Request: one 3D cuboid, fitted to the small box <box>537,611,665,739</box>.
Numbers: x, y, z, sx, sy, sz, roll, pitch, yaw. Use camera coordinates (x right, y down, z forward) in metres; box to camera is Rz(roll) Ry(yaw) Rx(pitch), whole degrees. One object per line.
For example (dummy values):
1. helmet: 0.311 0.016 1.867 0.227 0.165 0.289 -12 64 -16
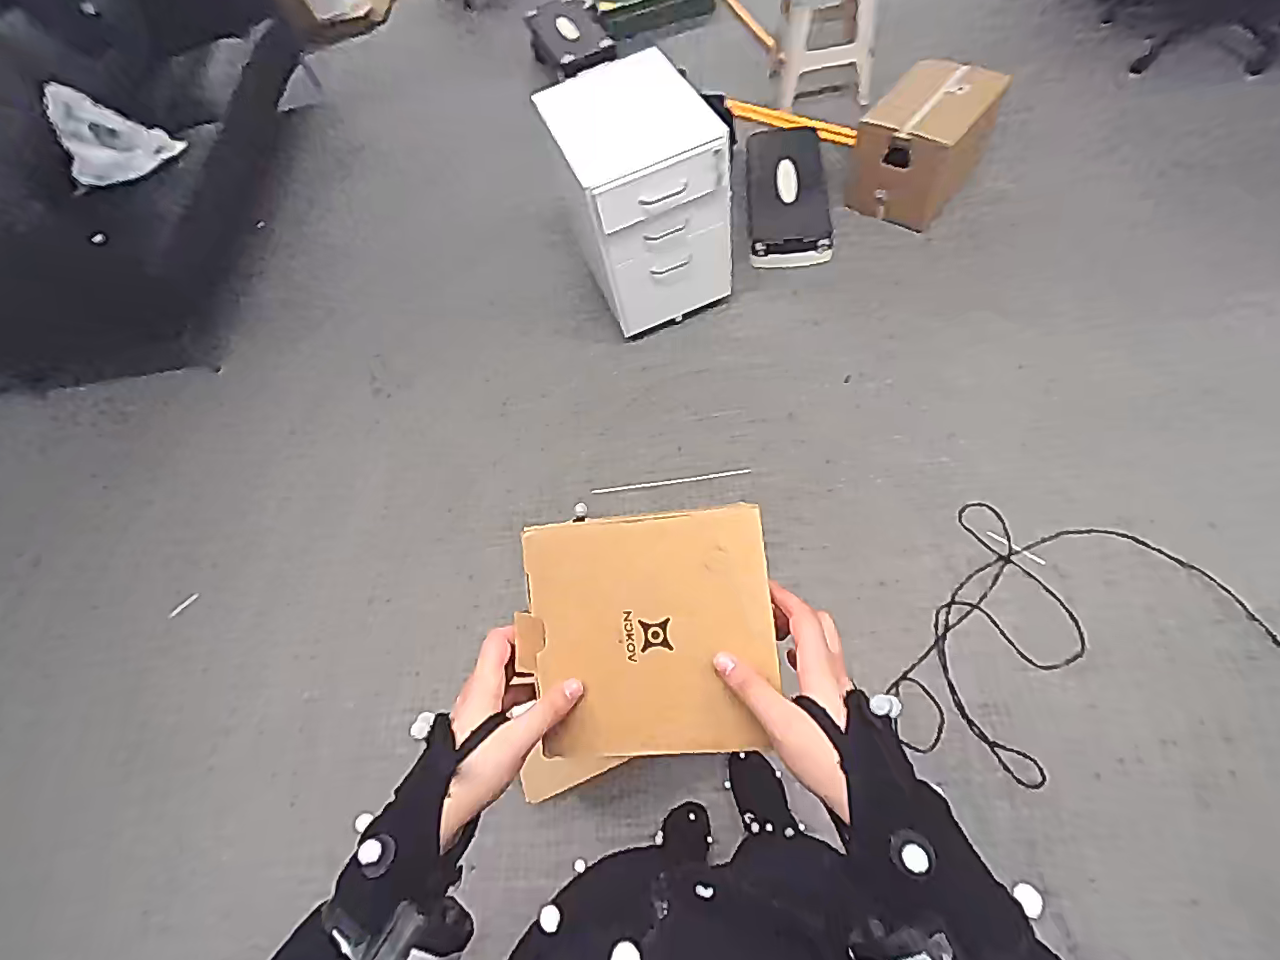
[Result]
1. small box: -0.068 0.372 1.016 0.179 0.176 0.168 -24 62 -2
